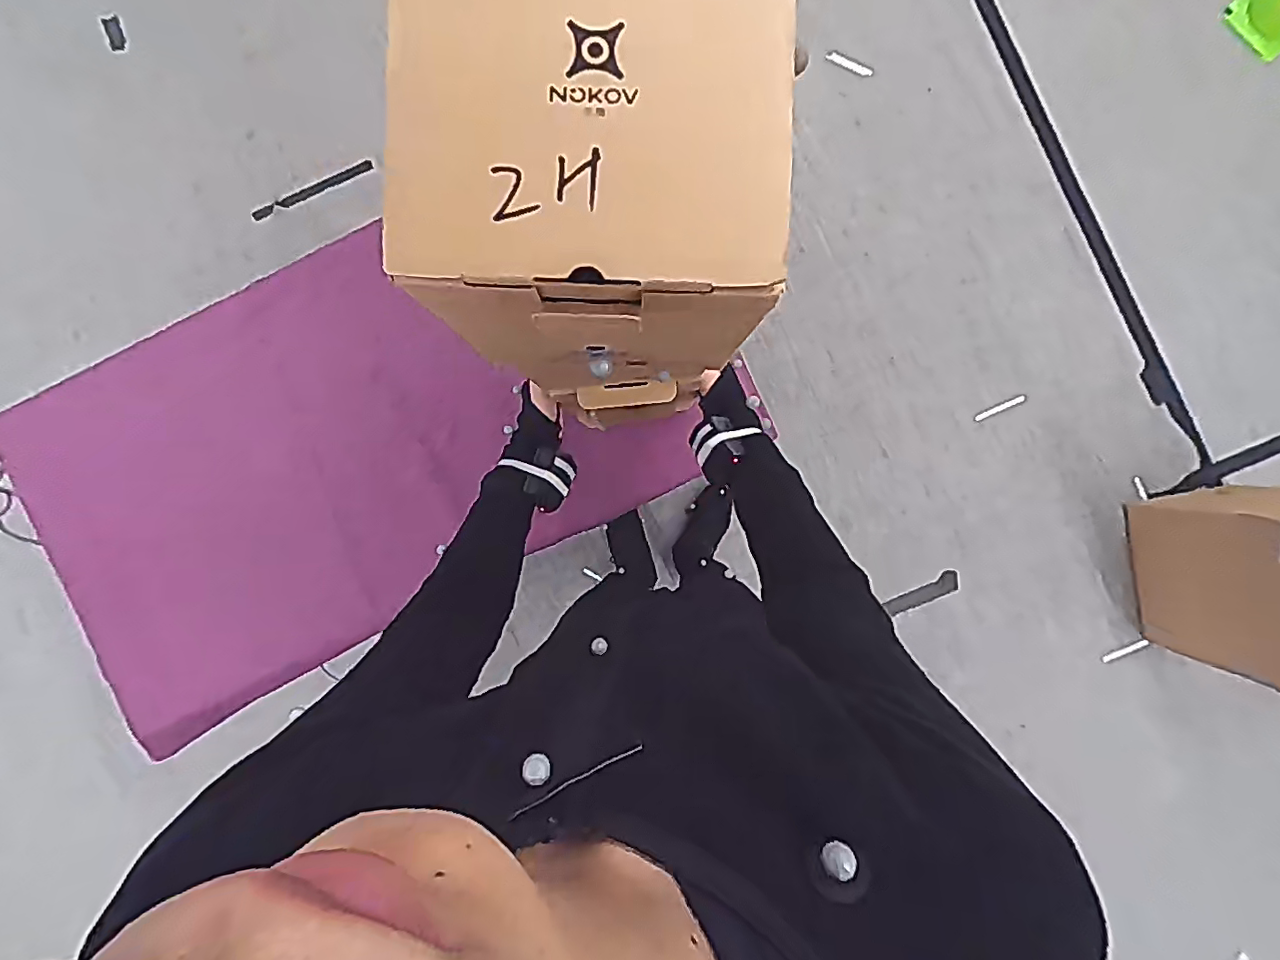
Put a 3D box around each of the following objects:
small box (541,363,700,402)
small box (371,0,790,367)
[{"bbox_3d":[-0.024,-0.187,0.625,0.168,0.176,0.179,-5,91,0],"label":"small box"},{"bbox_3d":[-0.024,-0.170,0.298,0.168,0.176,0.179,3,91,0],"label":"small box"}]
